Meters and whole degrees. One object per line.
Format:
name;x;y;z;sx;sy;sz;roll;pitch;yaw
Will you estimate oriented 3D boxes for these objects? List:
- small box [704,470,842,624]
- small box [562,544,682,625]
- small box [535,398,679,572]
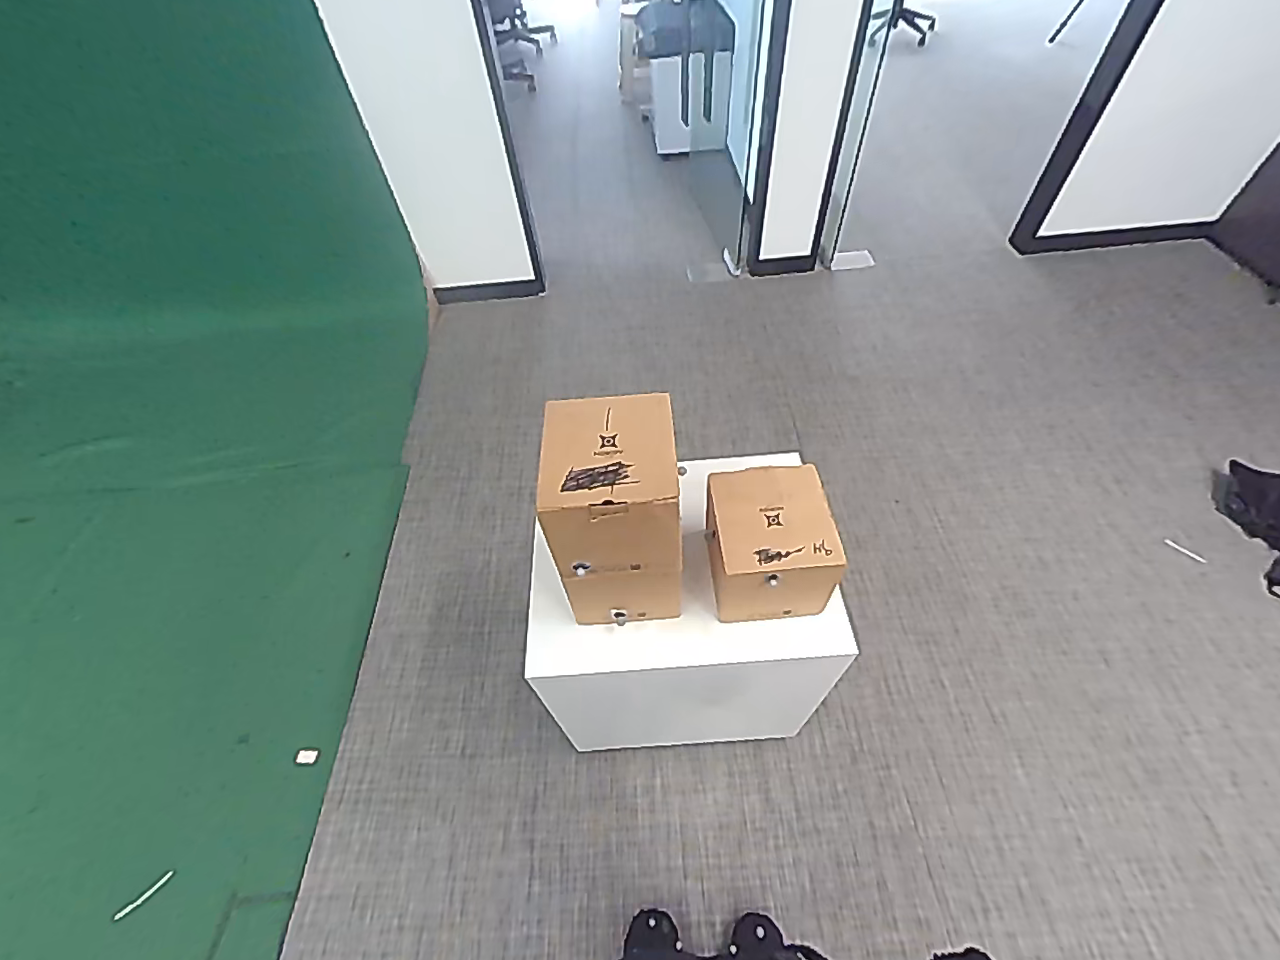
small box;0.193;0.106;0.845;0.168;0.176;0.179;-5;51;1
small box;-0.027;0.106;0.845;0.168;0.176;0.179;-6;53;0
small box;-0.036;0.014;0.729;0.168;0.176;0.179;-4;51;2
